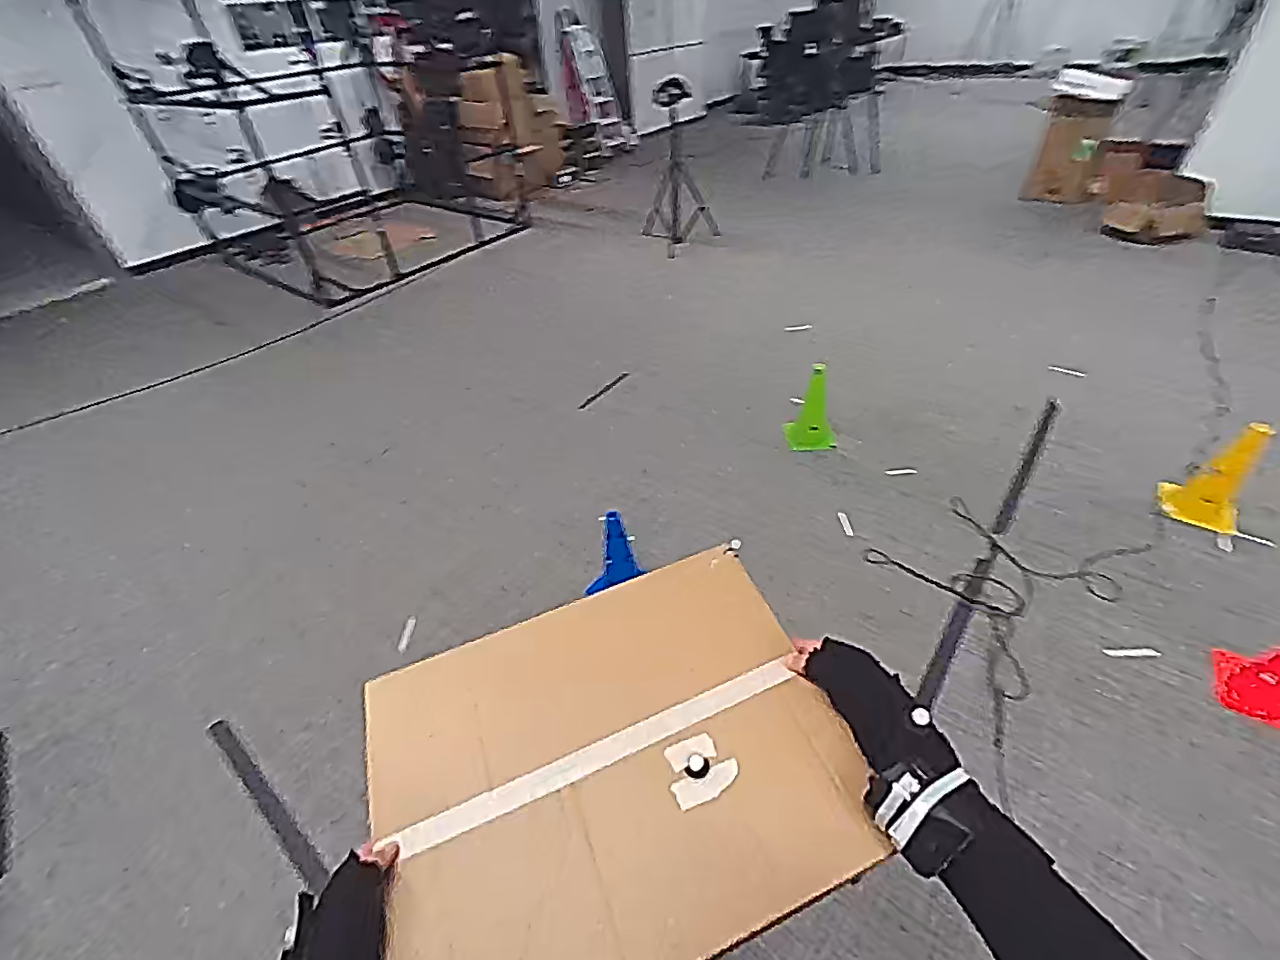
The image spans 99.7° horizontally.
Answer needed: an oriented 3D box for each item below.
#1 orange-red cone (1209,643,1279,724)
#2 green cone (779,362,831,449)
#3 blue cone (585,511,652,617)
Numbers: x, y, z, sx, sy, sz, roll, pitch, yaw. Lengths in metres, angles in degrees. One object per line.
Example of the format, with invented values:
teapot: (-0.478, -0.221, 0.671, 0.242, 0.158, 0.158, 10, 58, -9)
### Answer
orange-red cone: (1.642, 0.423, 1.332, 0.198, 0.360, 0.199, 23, 47, 28)
green cone: (0.717, -0.334, 2.299, 0.202, 0.368, 0.200, -4, 41, 4)
blue cone: (-0.088, 0.251, 1.758, 0.192, 0.380, 0.193, 26, 50, 33)
